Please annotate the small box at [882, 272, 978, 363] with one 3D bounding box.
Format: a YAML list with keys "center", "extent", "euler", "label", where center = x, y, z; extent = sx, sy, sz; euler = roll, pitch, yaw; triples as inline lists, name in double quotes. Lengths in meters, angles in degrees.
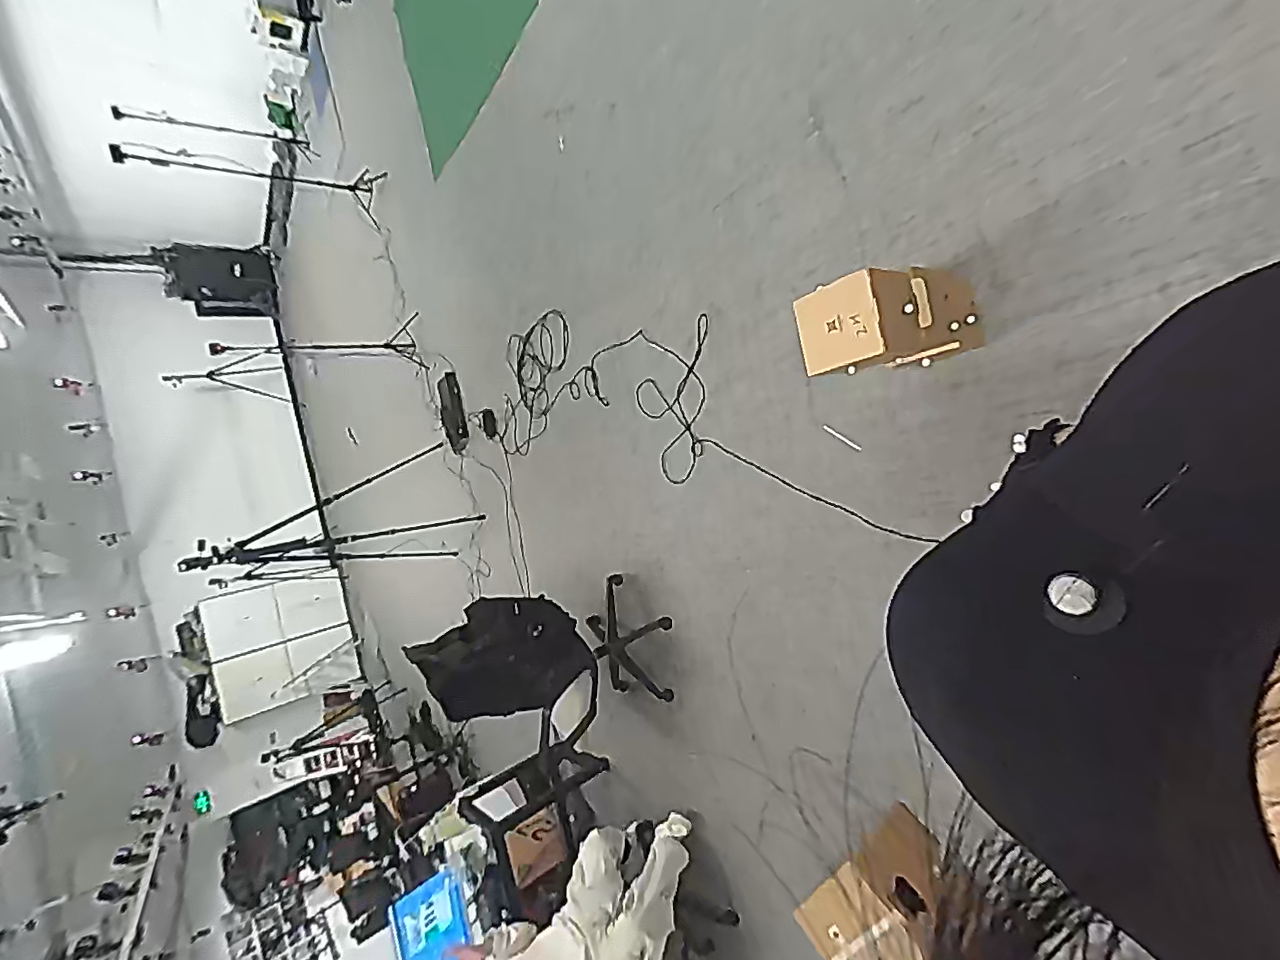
- center: [0.705, -0.396, 1.332]
  extent: [0.179, 0.176, 0.168]
  euler: [-12, 91, 52]
  label: "small box"

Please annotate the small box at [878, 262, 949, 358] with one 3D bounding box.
- center: [0.577, -0.378, 1.230]
  extent: [0.179, 0.176, 0.168]
  euler: [-11, 92, 53]
  label: "small box"

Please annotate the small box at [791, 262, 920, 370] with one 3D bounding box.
- center: [0.451, -0.335, 1.132]
  extent: [0.179, 0.176, 0.168]
  euler: [-11, 92, 52]
  label: "small box"
